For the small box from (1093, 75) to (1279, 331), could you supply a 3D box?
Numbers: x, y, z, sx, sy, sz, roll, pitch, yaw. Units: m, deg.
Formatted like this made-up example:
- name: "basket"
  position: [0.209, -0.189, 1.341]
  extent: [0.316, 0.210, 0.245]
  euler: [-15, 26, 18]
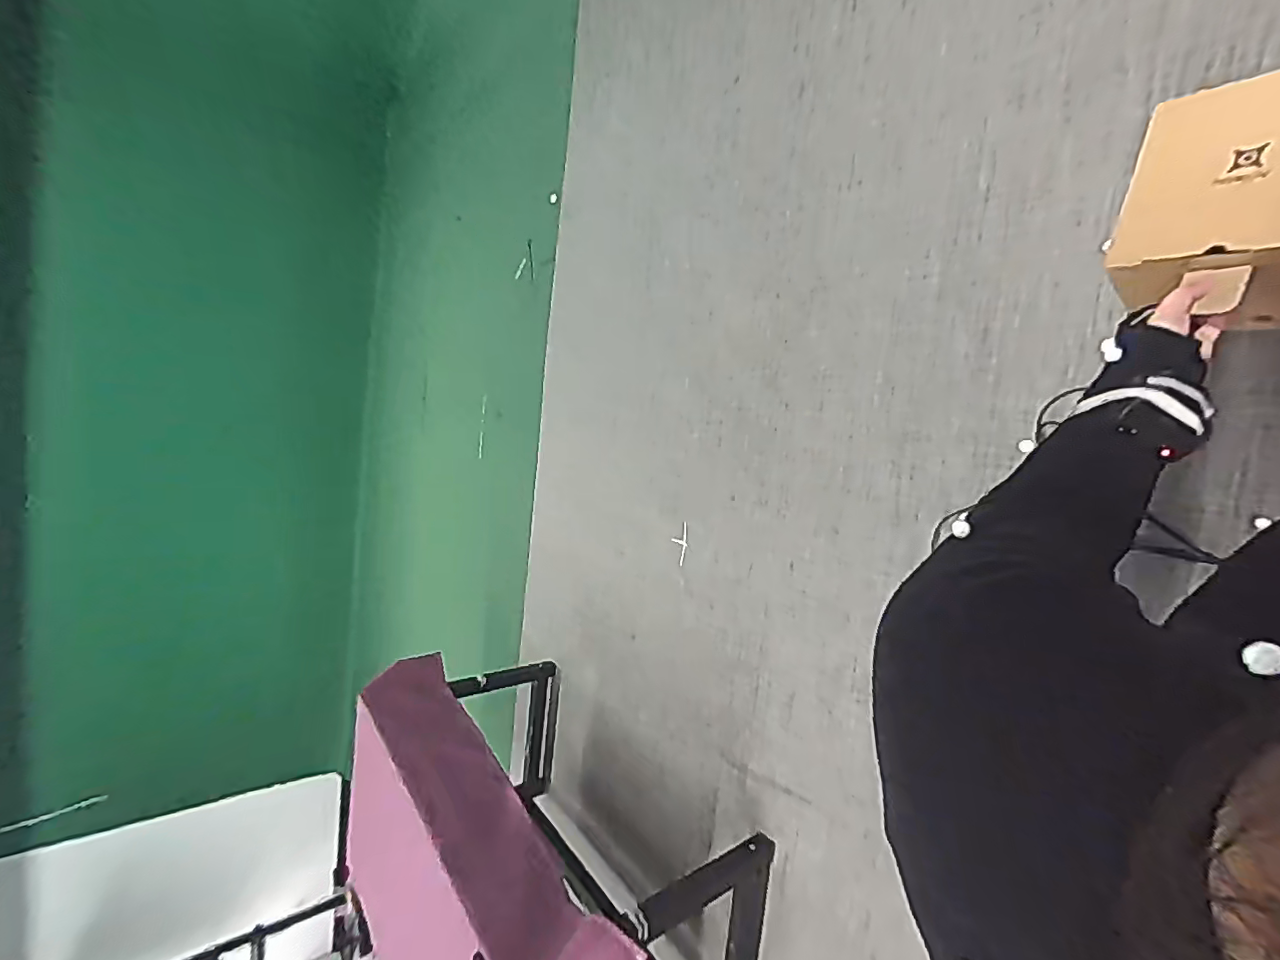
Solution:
- name: "small box"
  position: [0.604, -0.267, 0.545]
  extent: [0.168, 0.176, 0.179]
  euler: [20, 93, 53]
